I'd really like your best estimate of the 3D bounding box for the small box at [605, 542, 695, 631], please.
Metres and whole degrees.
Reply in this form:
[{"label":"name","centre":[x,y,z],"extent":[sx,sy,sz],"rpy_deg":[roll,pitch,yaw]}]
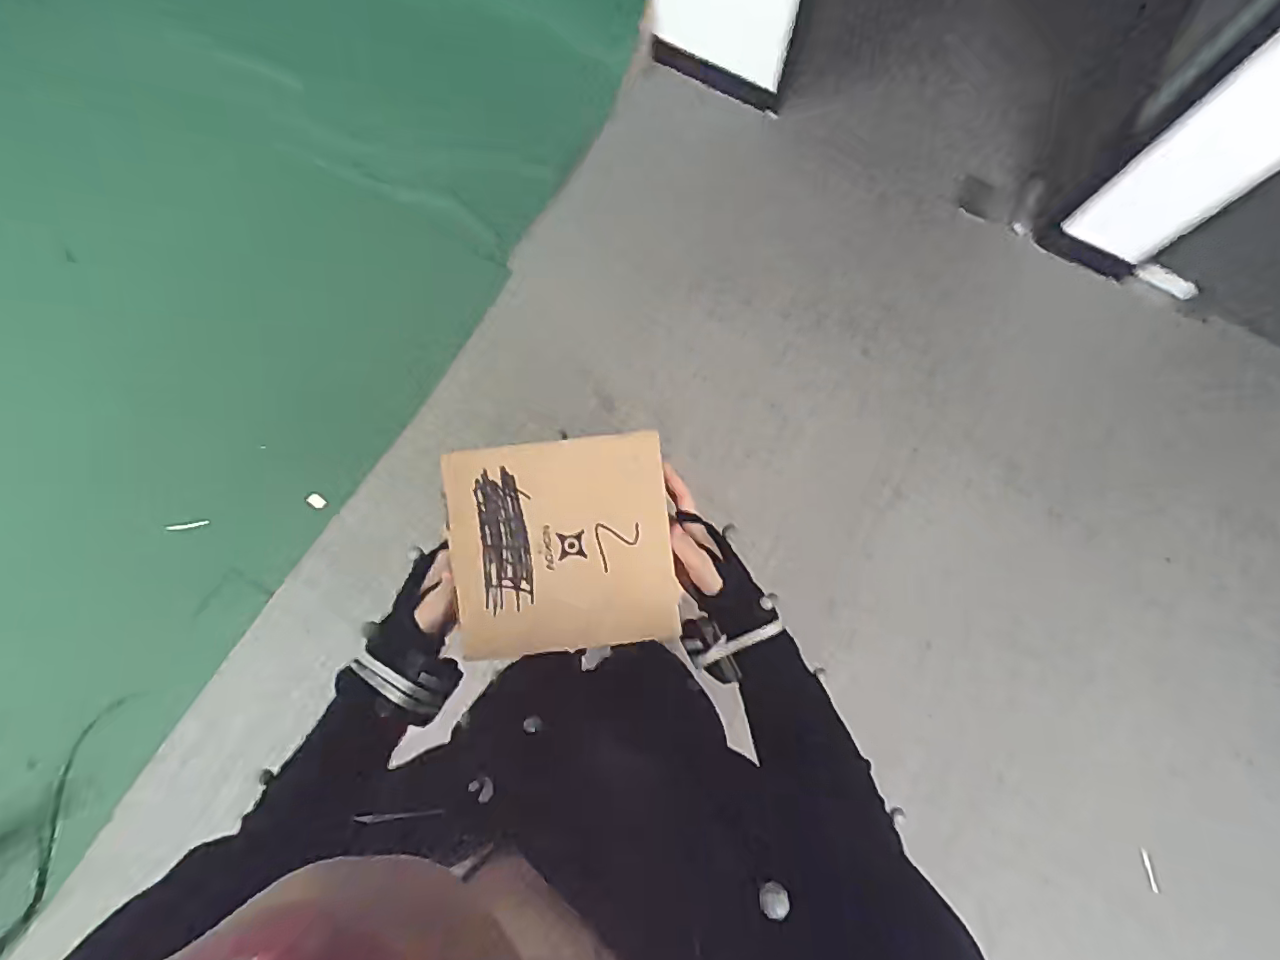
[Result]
[{"label":"small box","centre":[0.029,0.279,1.425],"extent":[0.179,0.176,0.168],"rpy_deg":[27,80,7]}]
